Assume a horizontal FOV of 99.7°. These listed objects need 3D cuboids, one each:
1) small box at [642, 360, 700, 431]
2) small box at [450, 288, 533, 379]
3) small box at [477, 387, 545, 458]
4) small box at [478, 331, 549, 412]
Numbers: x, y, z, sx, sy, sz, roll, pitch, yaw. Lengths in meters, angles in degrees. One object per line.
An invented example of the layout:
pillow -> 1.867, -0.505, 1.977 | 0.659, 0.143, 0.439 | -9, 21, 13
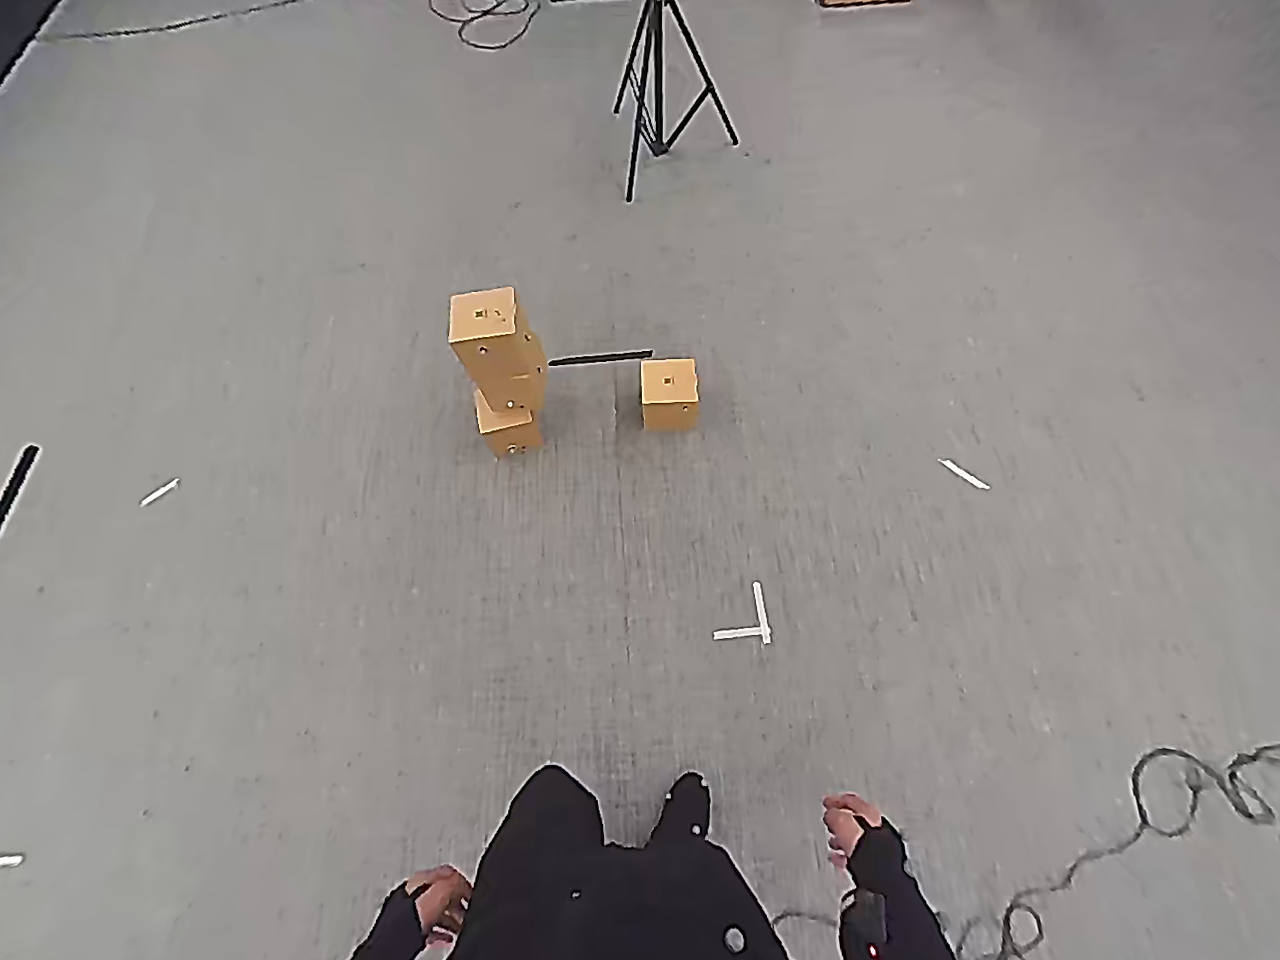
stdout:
small box -> 0.100, -0.271, 1.759 | 0.179, 0.176, 0.168 | -3, 65, 1
small box -> -0.400, -0.394, 1.481 | 0.179, 0.176, 0.168 | -7, 64, 1
small box -> -0.416, -0.198, 1.751 | 0.168, 0.176, 0.179 | -14, 65, -3
small box -> -0.375, -0.324, 1.628 | 0.168, 0.176, 0.179 | -1, 65, 4
